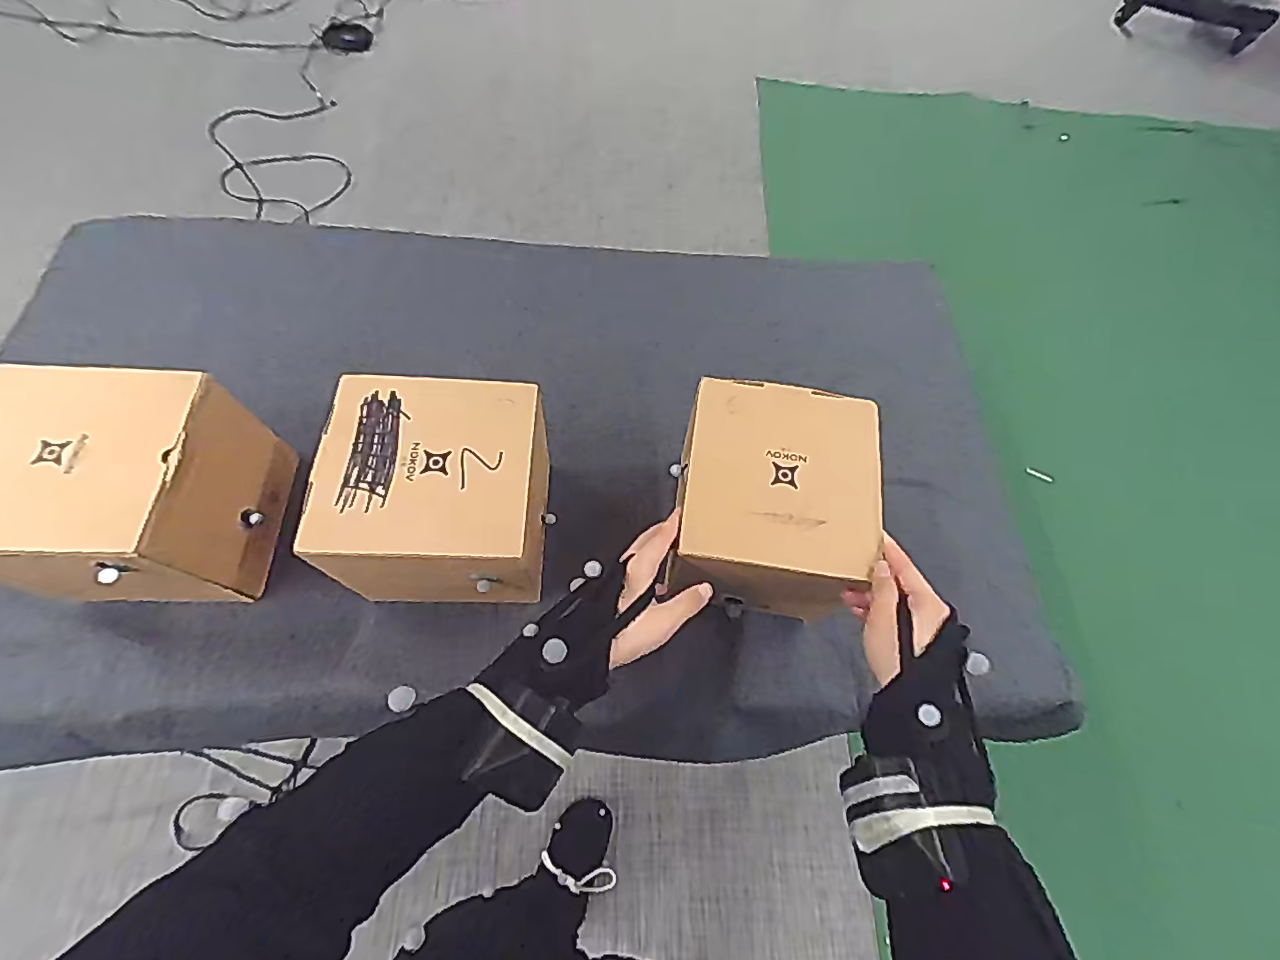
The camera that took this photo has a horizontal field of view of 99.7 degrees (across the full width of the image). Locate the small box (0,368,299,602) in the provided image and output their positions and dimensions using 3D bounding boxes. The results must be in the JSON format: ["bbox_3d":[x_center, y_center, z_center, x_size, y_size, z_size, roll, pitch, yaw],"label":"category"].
[{"bbox_3d":[-0.463,0.015,0.502,0.179,0.176,0.168,1,65,-6],"label":"small box"}]

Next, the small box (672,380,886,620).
[{"bbox_3d":[0.125,0.028,0.539,0.168,0.176,0.179,7,66,3],"label":"small box"}]
